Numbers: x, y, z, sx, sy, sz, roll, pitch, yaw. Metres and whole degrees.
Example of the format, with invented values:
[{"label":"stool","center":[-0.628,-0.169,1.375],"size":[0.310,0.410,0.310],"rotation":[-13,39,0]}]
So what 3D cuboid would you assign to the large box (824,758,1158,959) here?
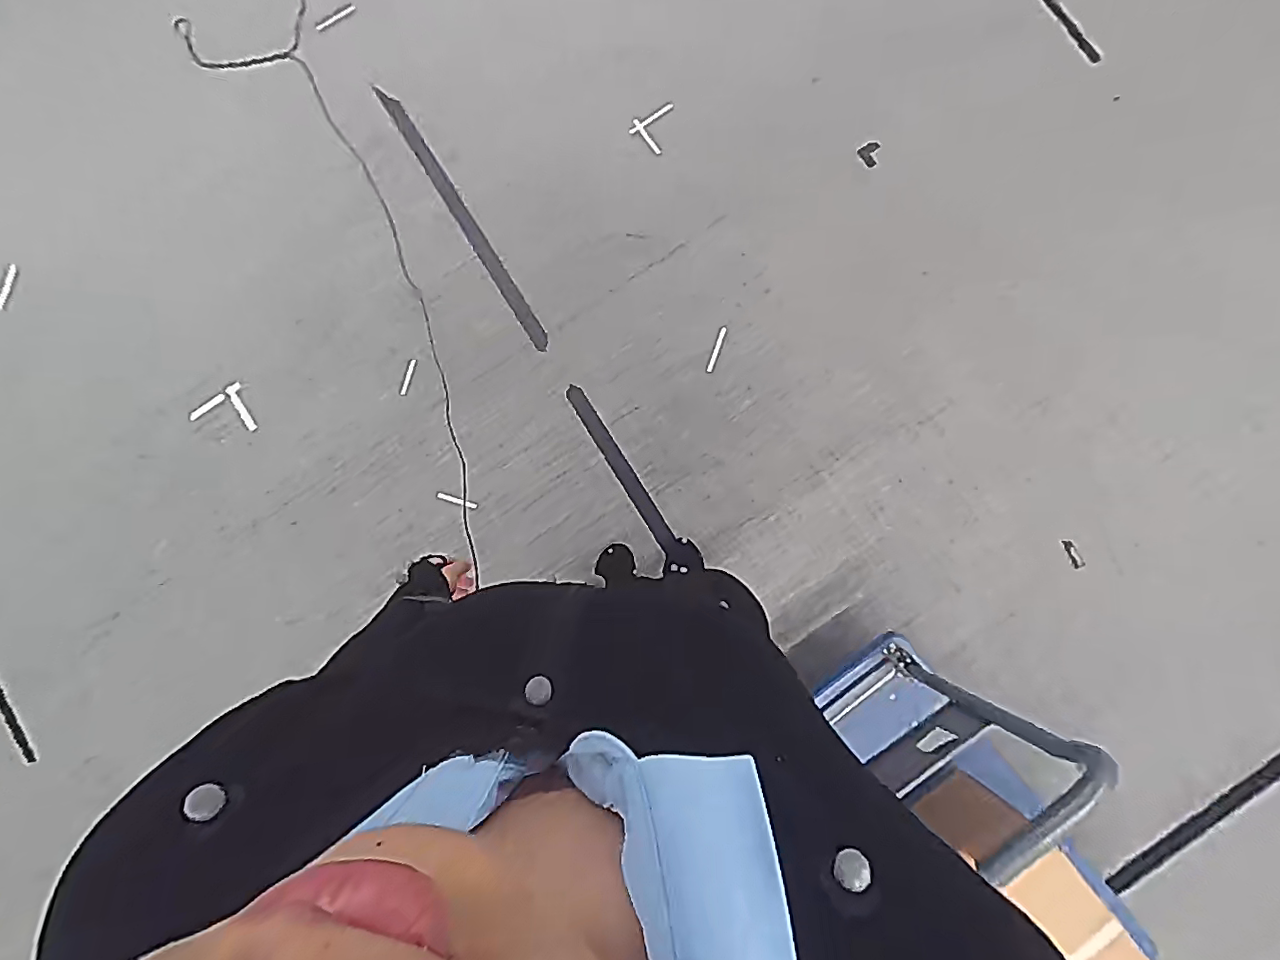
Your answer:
[{"label":"large box","center":[0.656,0.858,1.081],"size":[0.408,0.320,0.320],"rotation":[-37,84,-3]}]
